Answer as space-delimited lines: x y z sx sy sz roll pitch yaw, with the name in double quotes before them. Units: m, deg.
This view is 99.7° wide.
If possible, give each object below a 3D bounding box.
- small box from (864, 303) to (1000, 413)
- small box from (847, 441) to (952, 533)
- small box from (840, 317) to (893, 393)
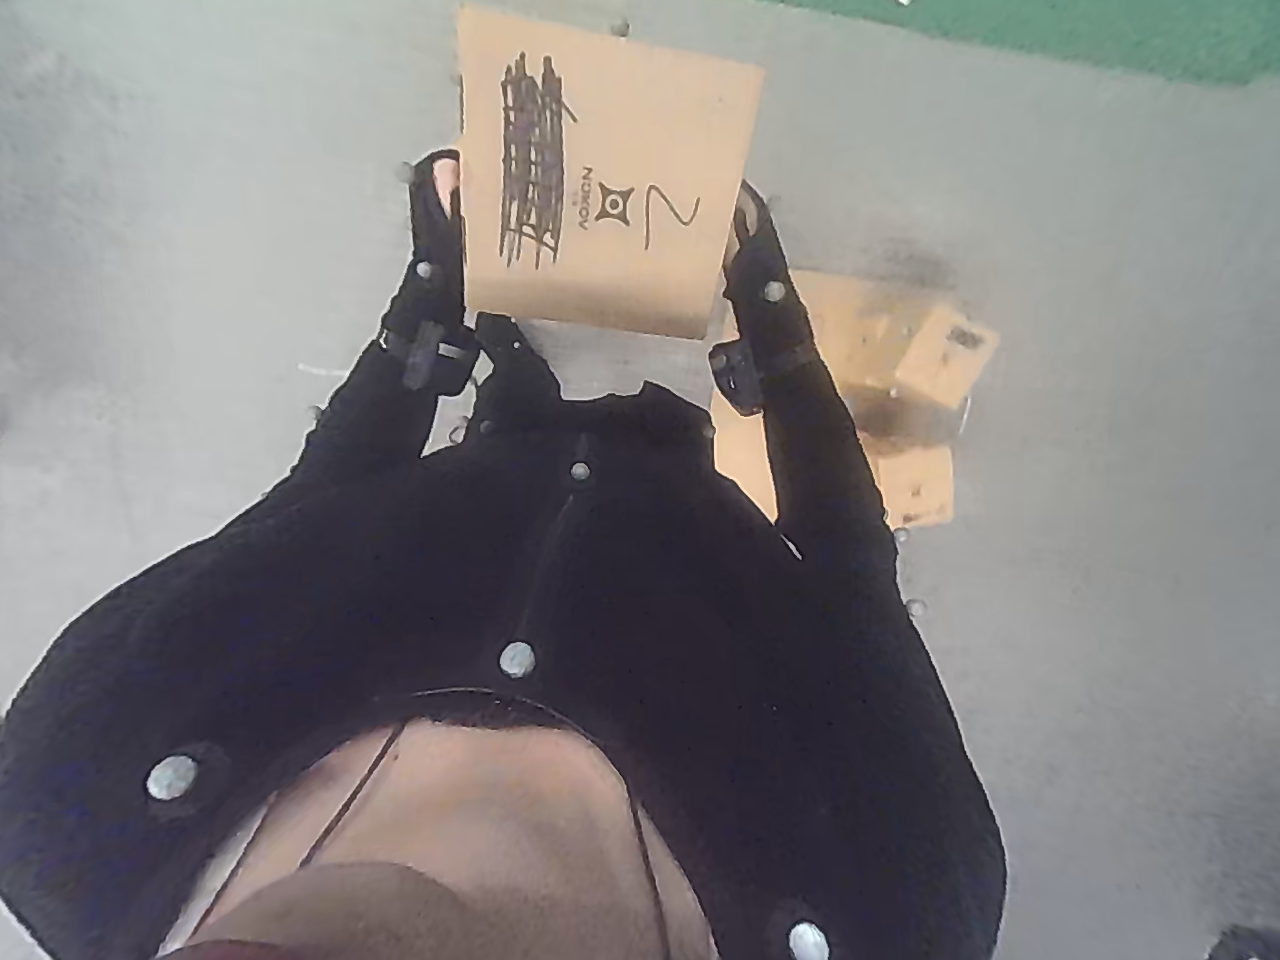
"small box" 0.636 -0.271 1.205 0.168 0.176 0.179 26 102 -8
"small box" 0.598 0.008 1.265 0.168 0.176 0.179 -9 102 0
"small box" 0.633 -0.307 1.365 0.179 0.176 0.168 9 103 -5
